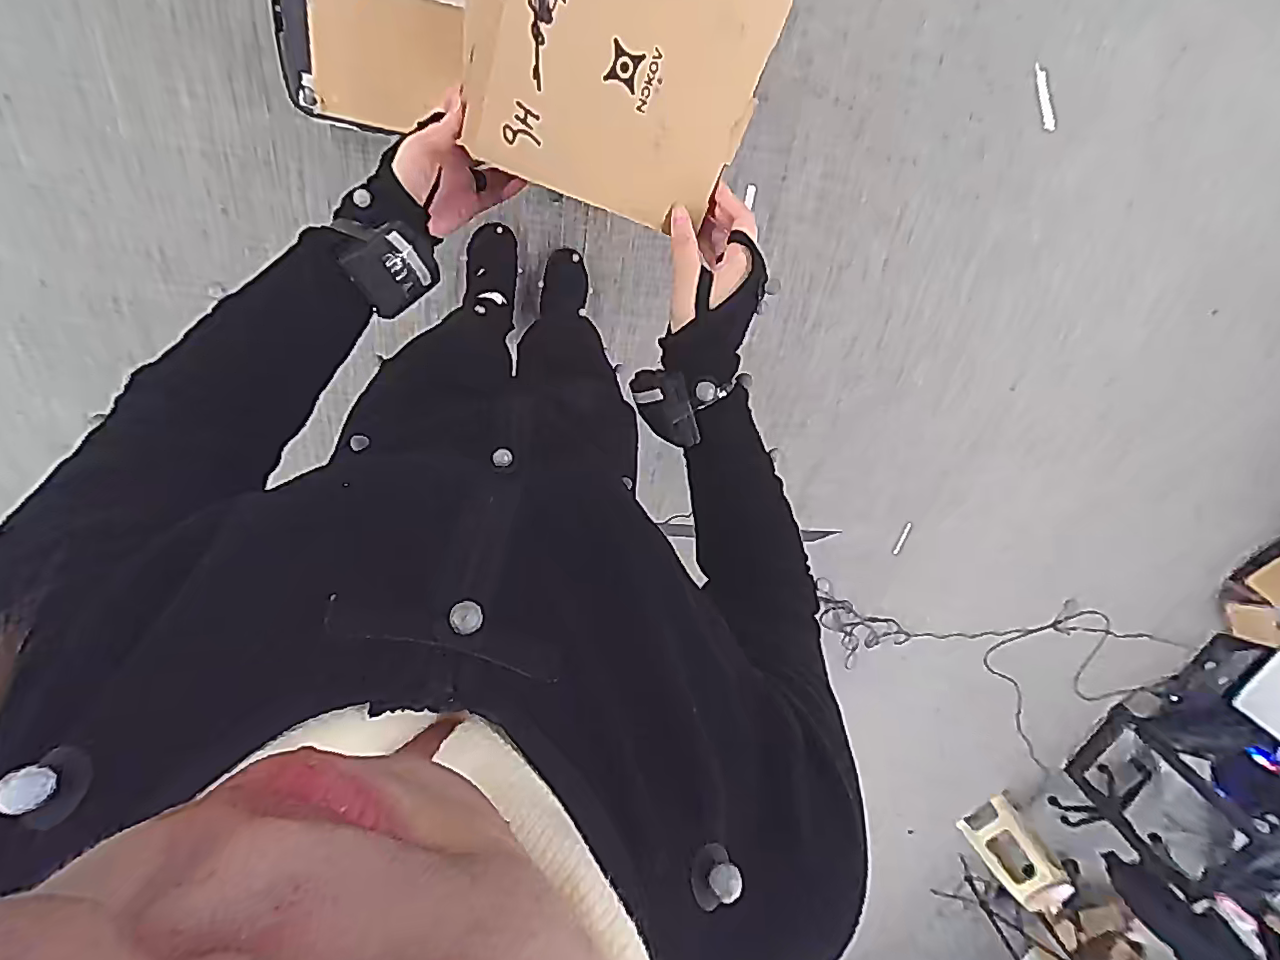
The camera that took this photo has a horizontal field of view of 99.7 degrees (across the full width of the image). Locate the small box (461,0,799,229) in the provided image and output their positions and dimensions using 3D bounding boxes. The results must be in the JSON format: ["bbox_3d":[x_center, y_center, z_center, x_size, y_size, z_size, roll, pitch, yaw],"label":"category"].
[{"bbox_3d":[-0.023,-0.316,0.402,0.179,0.176,0.168,9,120,-28],"label":"small box"}]

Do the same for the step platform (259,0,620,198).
[{"bbox_3d":[-0.290,-0.765,0.998,0.684,0.204,0.286,9,118,-16],"label":"step platform"}]

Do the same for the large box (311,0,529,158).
[{"bbox_3d":[-0.213,-0.666,0.792,0.408,0.320,0.320,5,119,-14],"label":"large box"}]
